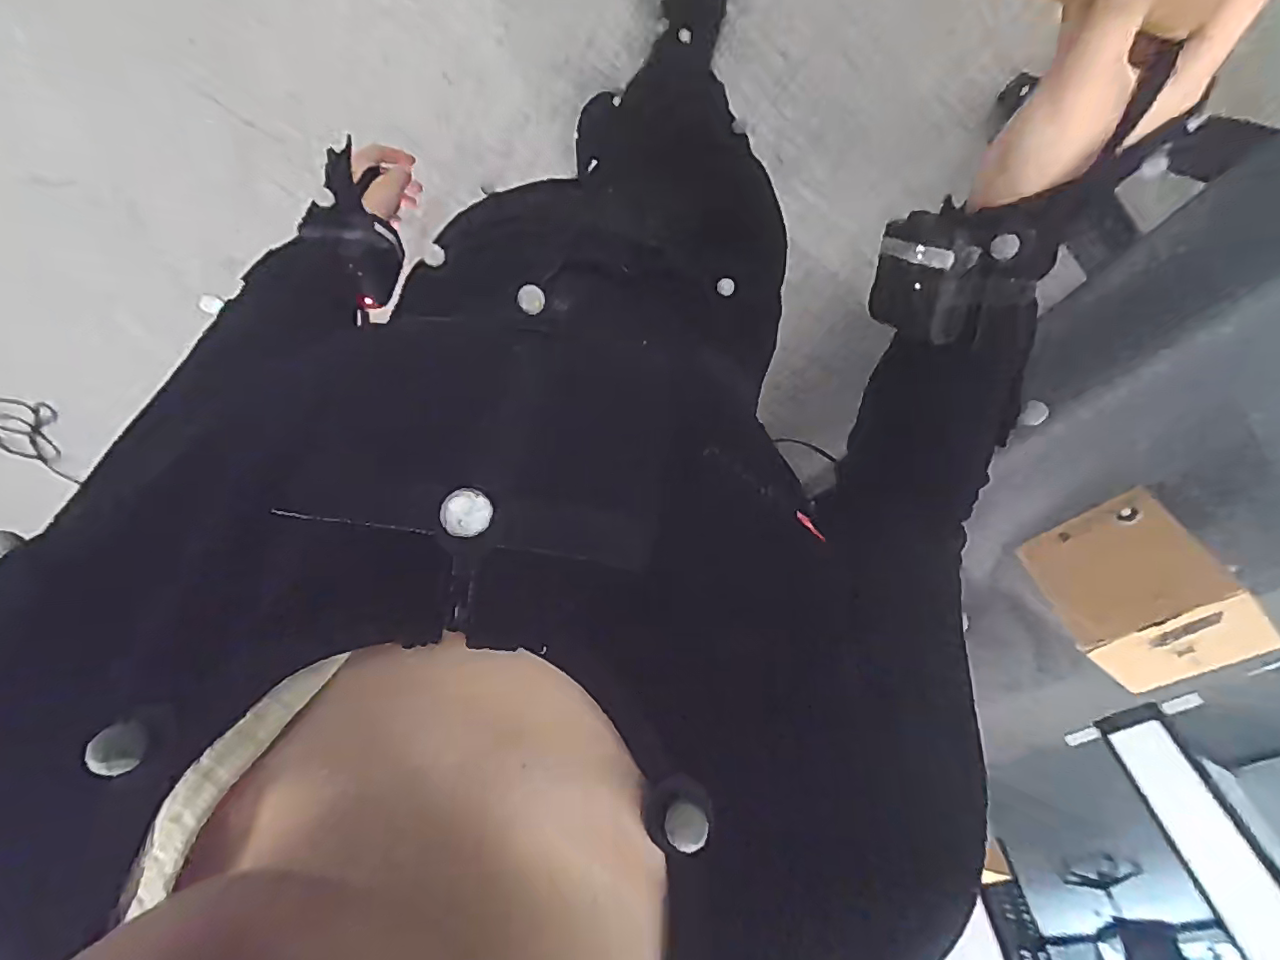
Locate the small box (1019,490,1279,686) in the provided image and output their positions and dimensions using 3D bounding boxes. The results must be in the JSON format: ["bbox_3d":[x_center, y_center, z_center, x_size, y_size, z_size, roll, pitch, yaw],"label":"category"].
[{"bbox_3d":[0.651,0.138,0.712,0.179,0.176,0.168,31,126,-27],"label":"small box"}]
